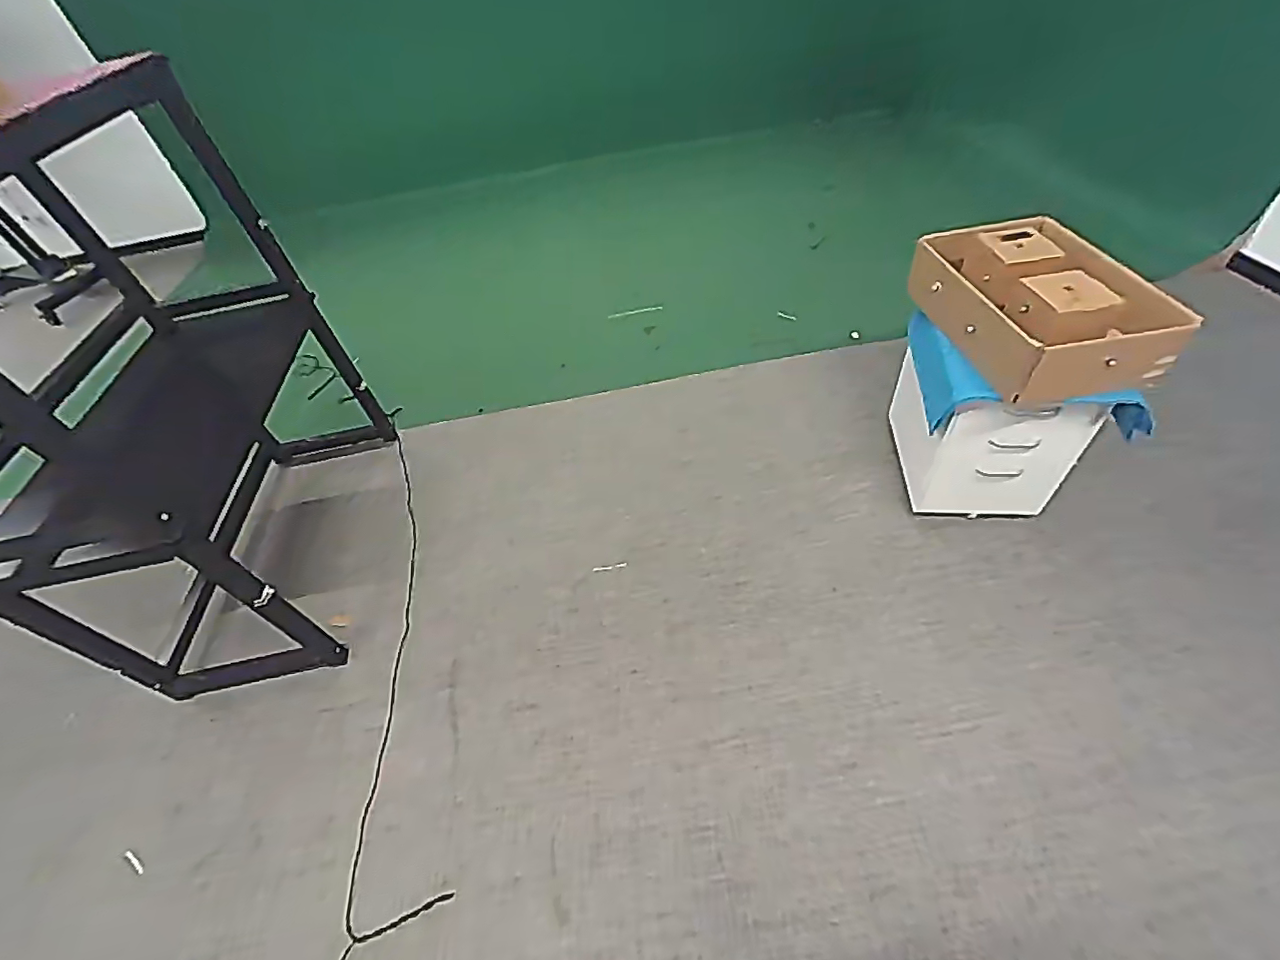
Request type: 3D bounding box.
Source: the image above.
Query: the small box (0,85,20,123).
[{"bbox_3d":[-1.408,-0.775,1.057,0.168,0.176,0.179,-13,48,-1],"label":"small box"}]
